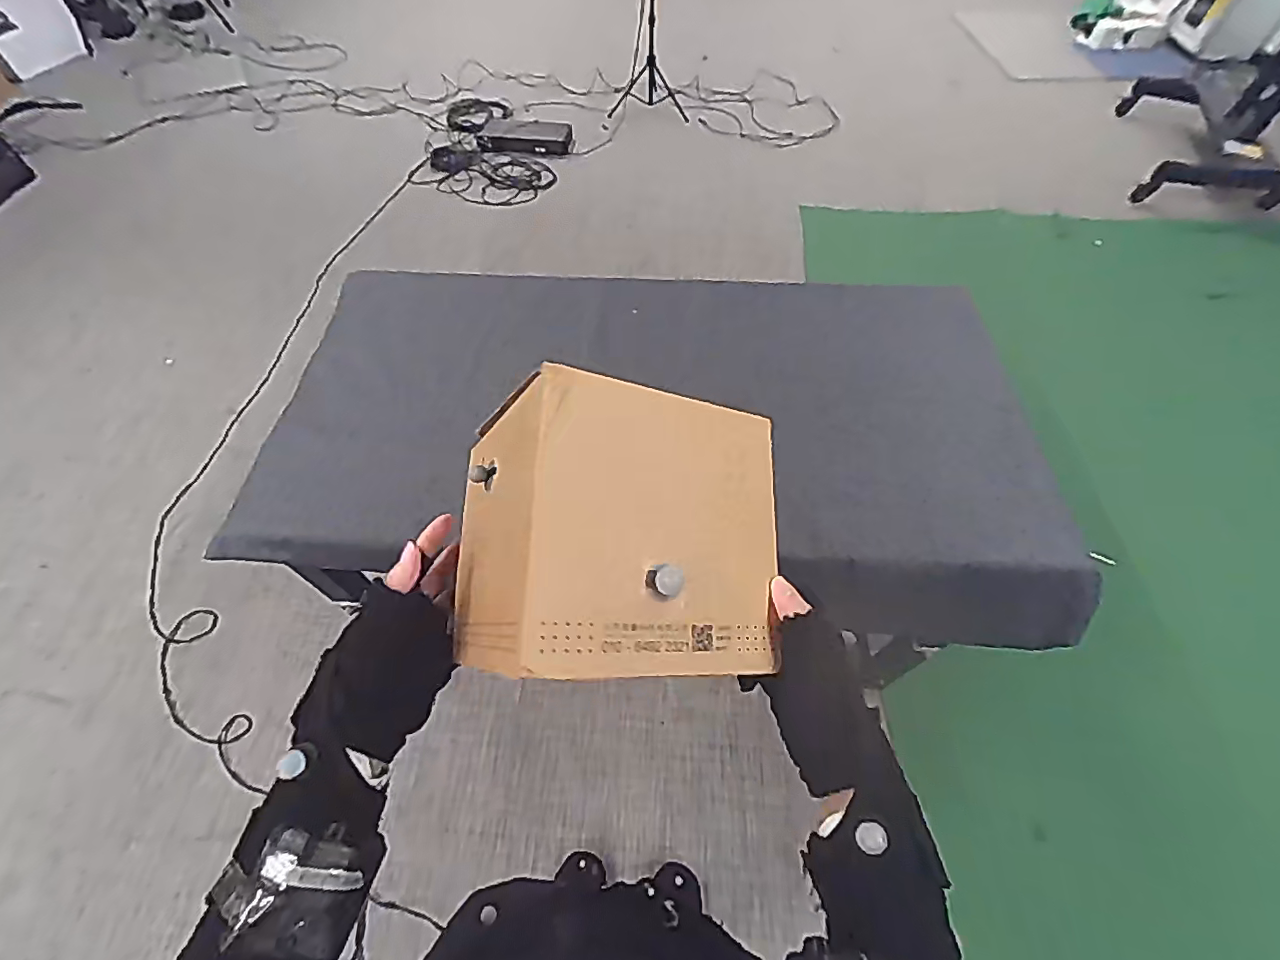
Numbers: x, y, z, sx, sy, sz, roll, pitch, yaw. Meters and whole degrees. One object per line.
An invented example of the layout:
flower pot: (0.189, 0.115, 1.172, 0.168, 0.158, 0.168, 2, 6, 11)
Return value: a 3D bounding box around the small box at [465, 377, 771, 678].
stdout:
small box: (-0.023, 0.050, 0.399, 0.168, 0.179, 0.176, 9, 73, -29)
